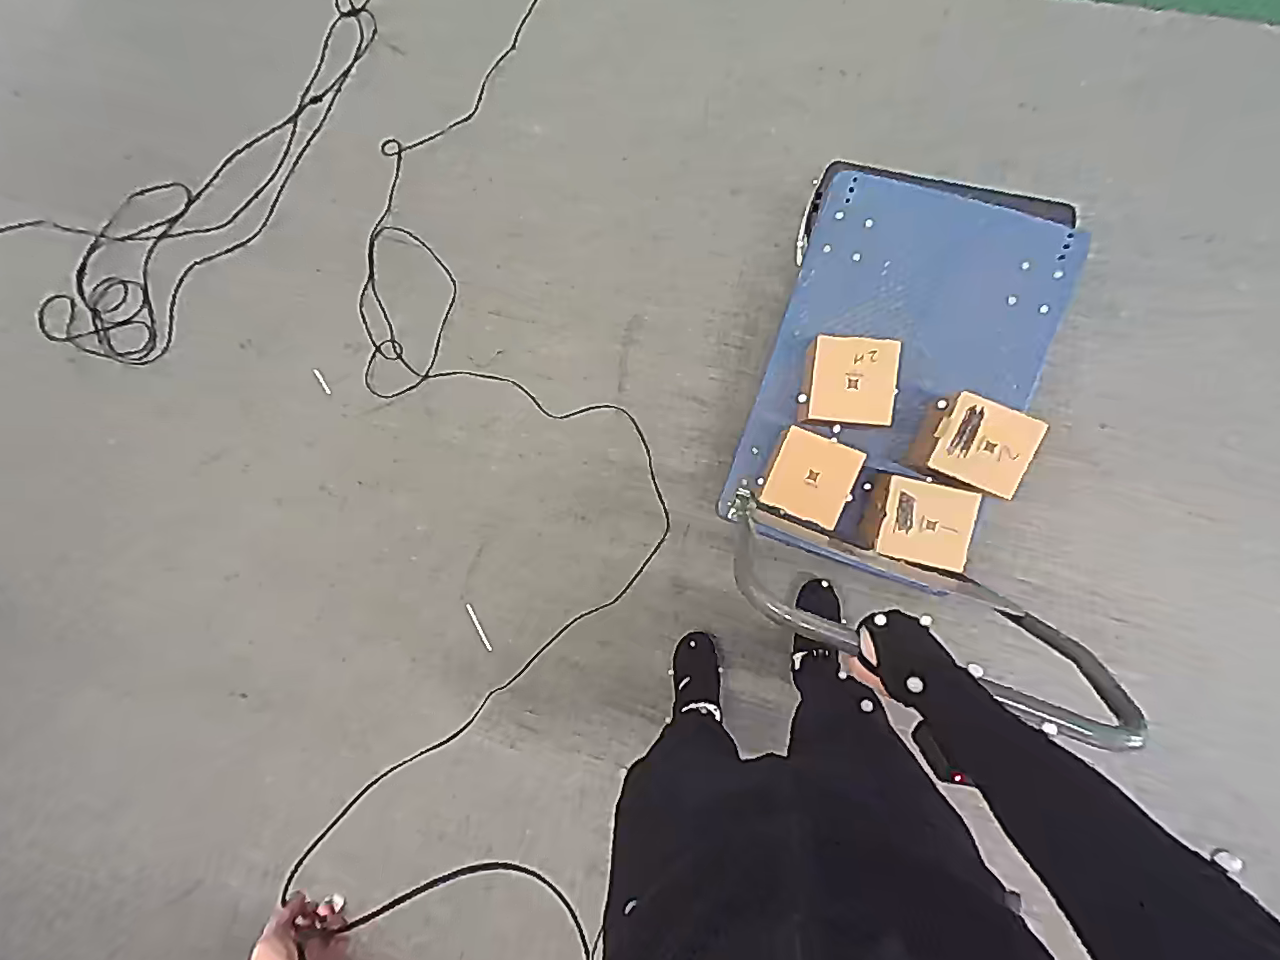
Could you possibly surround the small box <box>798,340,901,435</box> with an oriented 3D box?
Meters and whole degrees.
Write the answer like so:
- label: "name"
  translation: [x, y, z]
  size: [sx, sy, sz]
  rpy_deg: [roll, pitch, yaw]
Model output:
- label: "small box"
  translation: [0.448, -0.194, 1.183]
  size: [0.168, 0.176, 0.179]
  rpy_deg: [7, 92, 8]
